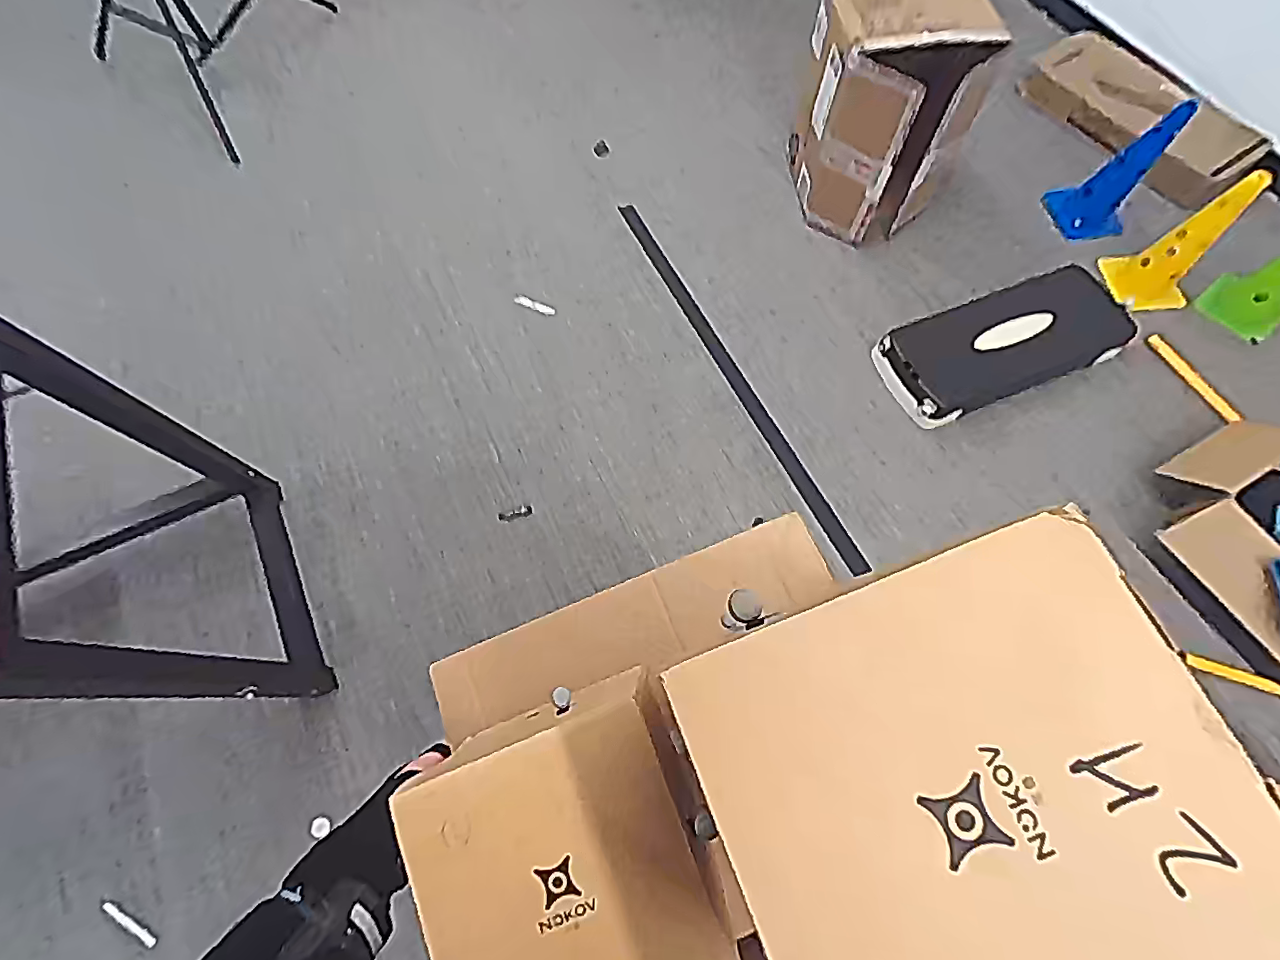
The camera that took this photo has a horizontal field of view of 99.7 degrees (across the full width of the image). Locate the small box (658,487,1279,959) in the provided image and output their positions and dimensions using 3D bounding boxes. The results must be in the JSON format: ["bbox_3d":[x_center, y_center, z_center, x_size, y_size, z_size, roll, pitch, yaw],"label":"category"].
[{"bbox_3d":[0.122,0.127,0.250,0.179,0.176,0.168,-22,73,-2],"label":"small box"}]
